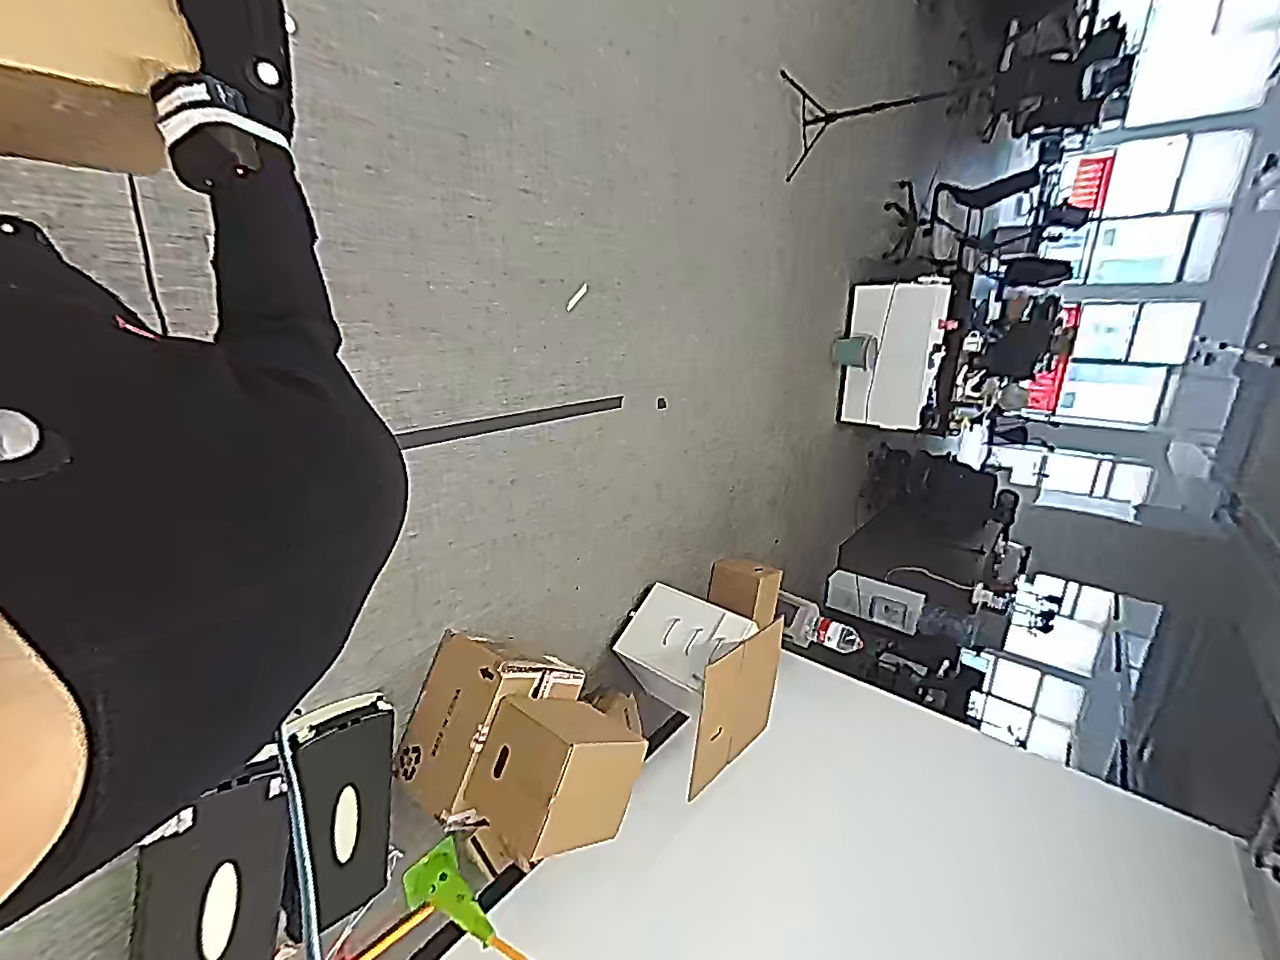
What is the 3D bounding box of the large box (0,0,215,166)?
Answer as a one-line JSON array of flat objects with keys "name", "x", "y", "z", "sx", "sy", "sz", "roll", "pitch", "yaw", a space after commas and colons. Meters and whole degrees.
[{"name": "large box", "x": -0.583, "y": -0.430, "z": 0.343, "sx": 0.408, "sy": 0.320, "sz": 0.320, "roll": -18, "pitch": 115, "yaw": -45}]
